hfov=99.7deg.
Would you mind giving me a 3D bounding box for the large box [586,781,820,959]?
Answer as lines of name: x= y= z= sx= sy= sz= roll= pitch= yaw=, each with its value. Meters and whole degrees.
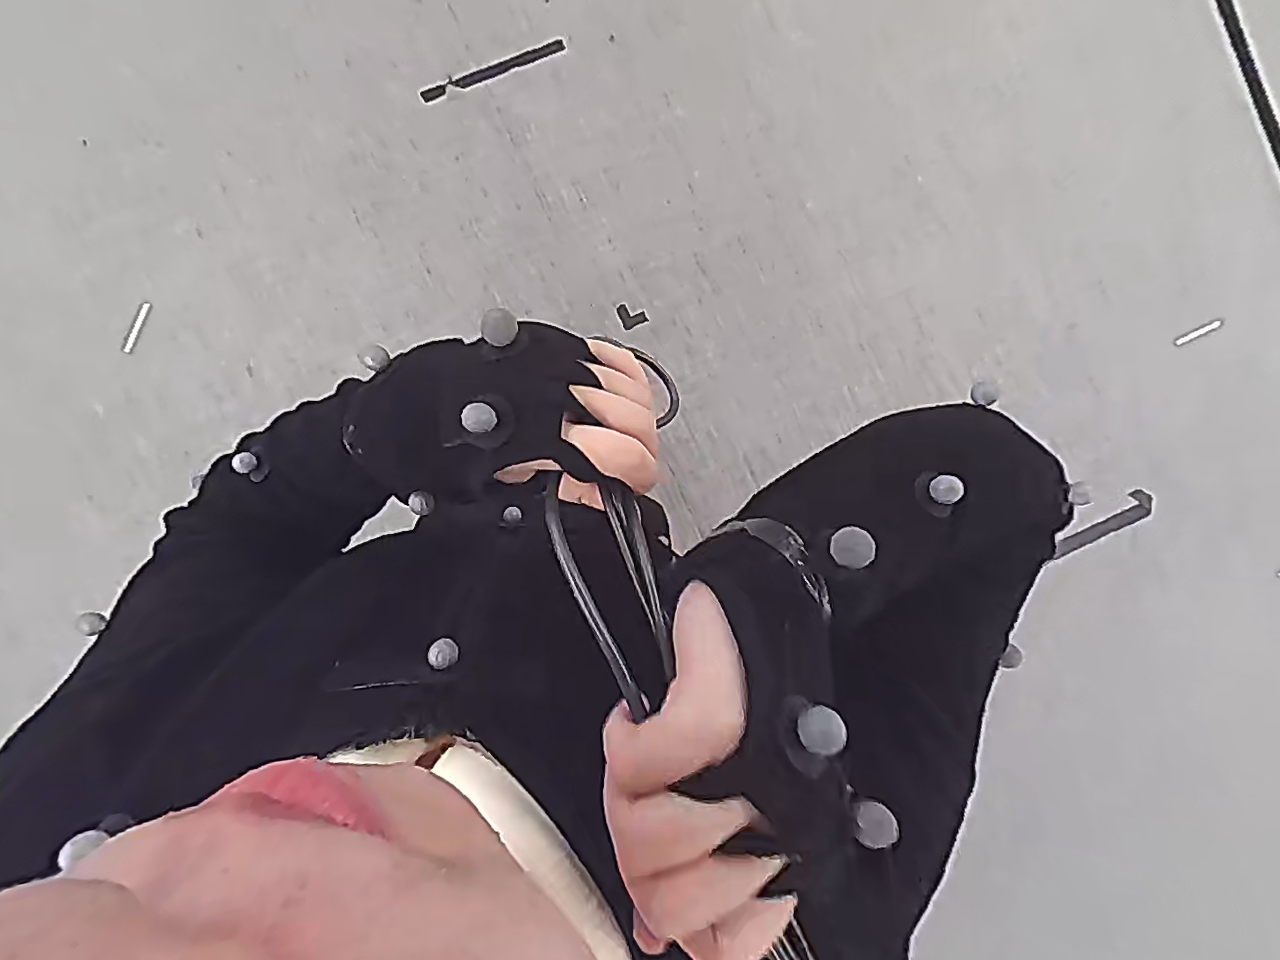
large box: x=0.125 y=1.005 z=1.234 sx=0.408 sy=0.320 sz=0.320 roll=-37 pitch=94 yaw=-1
